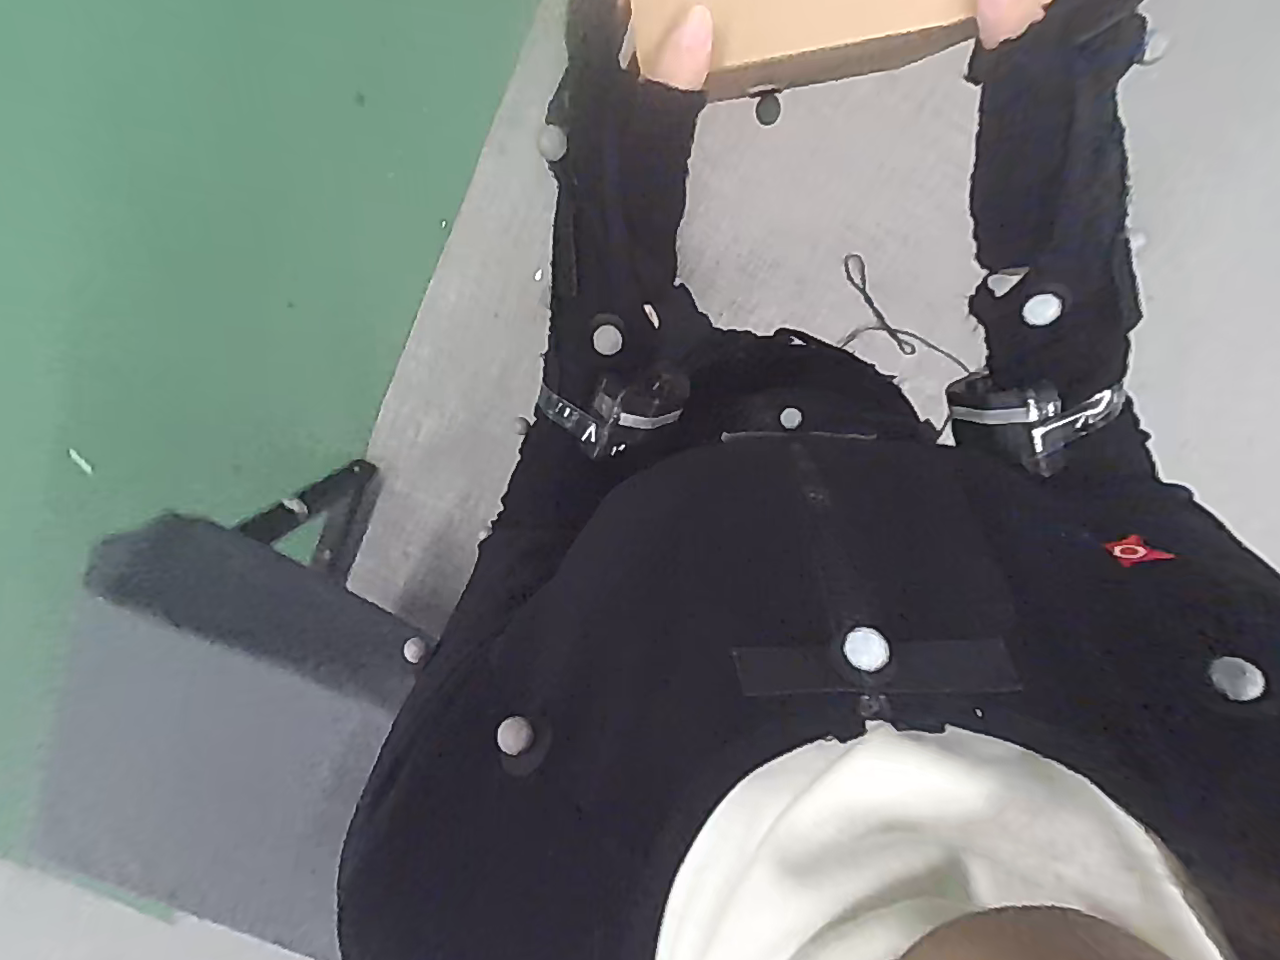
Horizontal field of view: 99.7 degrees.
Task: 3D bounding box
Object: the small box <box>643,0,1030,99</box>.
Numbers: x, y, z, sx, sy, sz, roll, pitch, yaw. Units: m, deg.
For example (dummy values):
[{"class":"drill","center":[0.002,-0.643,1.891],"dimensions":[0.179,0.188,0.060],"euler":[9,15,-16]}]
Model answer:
[{"class":"small box","center":[0.079,-0.303,0.253],"dimensions":[0.168,0.176,0.179],"euler":[-5,120,7]}]
